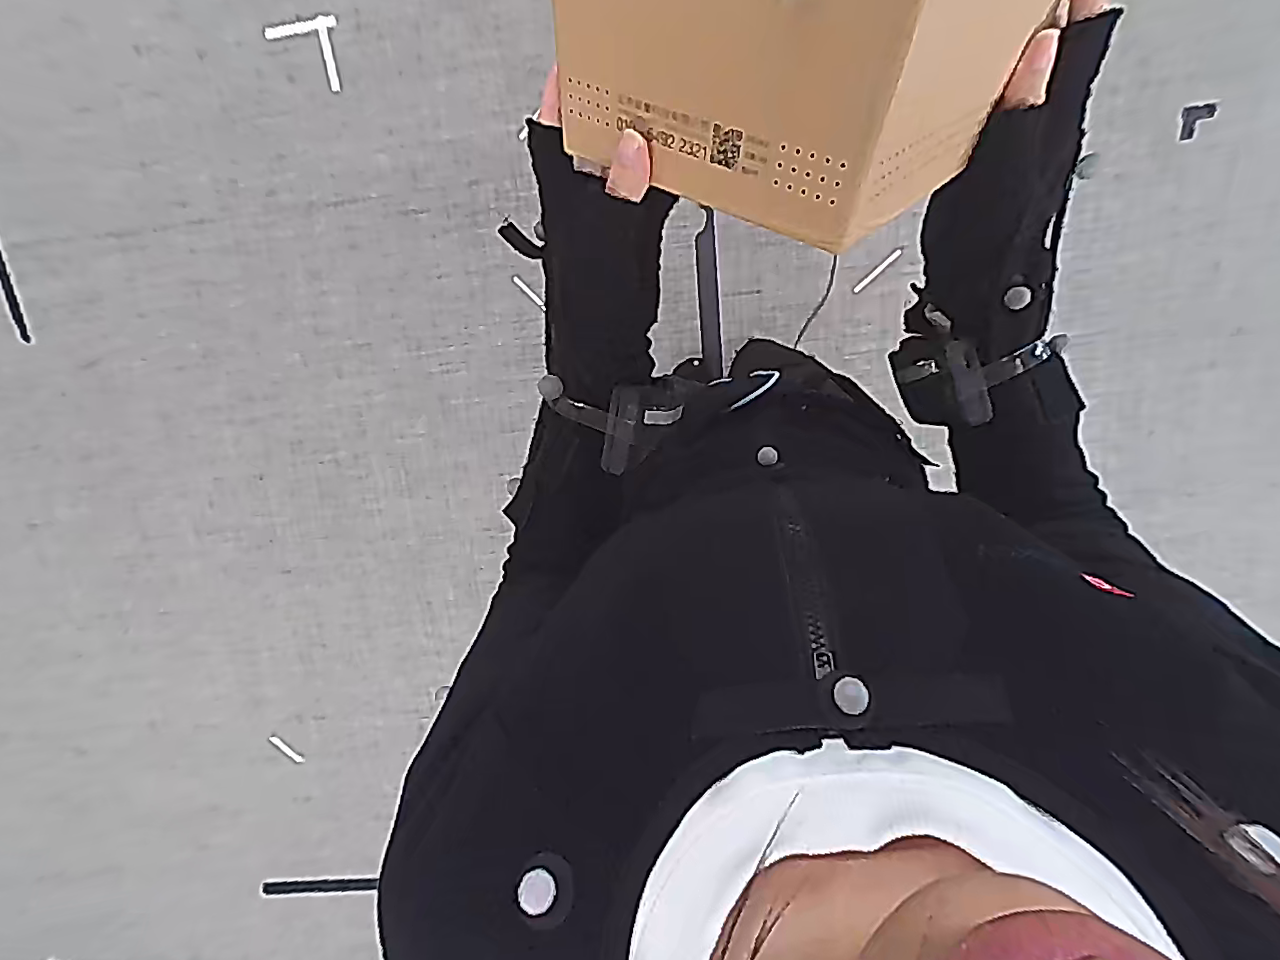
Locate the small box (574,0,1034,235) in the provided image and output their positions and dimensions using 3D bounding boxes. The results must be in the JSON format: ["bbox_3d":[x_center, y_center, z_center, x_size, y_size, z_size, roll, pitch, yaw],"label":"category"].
[{"bbox_3d":[0.081,-0.239,0.251,0.168,0.179,0.176,36,146,26],"label":"small box"}]
